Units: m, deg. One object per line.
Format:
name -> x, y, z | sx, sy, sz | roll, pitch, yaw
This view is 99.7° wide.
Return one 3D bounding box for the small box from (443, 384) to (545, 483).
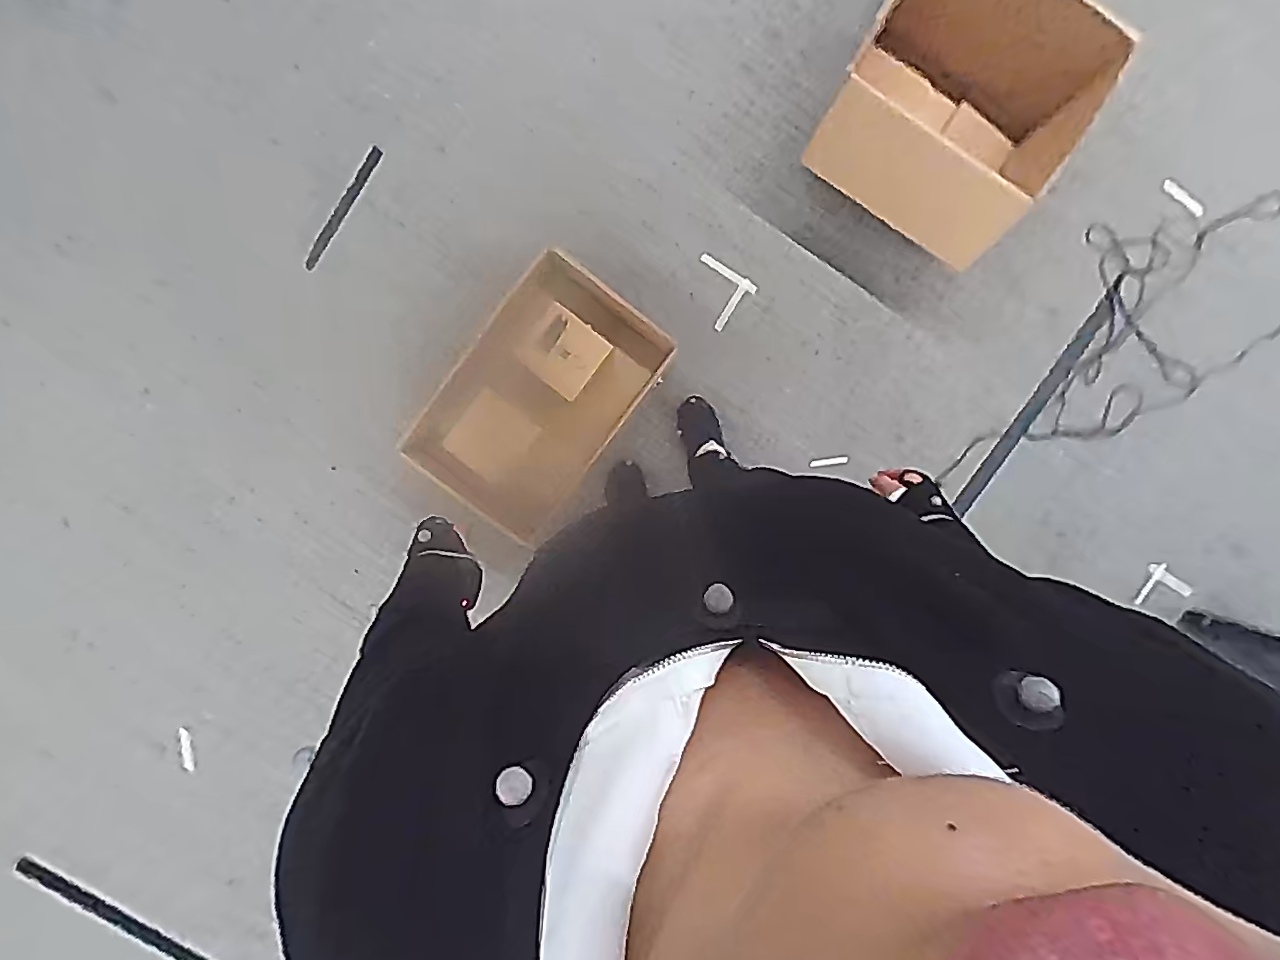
small box -> -0.352, -0.113, 1.348 | 0.168, 0.176, 0.179 | 38, 90, -7
